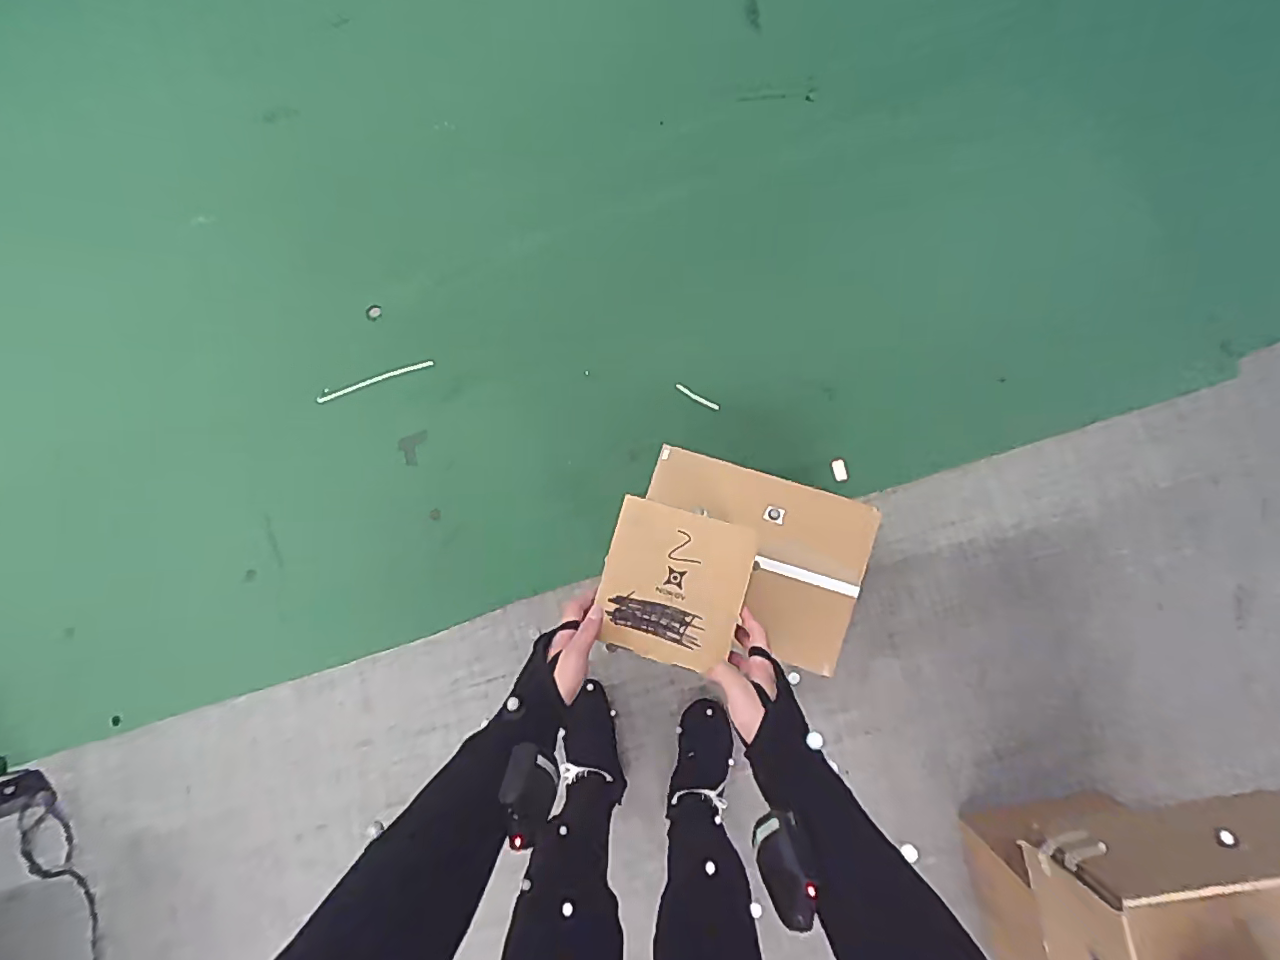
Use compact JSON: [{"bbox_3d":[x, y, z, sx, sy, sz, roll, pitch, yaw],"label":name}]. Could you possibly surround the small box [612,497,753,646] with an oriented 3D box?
[{"bbox_3d":[0.069,0.142,0.877,0.168,0.176,0.179,21,85,6],"label":"small box"}]
